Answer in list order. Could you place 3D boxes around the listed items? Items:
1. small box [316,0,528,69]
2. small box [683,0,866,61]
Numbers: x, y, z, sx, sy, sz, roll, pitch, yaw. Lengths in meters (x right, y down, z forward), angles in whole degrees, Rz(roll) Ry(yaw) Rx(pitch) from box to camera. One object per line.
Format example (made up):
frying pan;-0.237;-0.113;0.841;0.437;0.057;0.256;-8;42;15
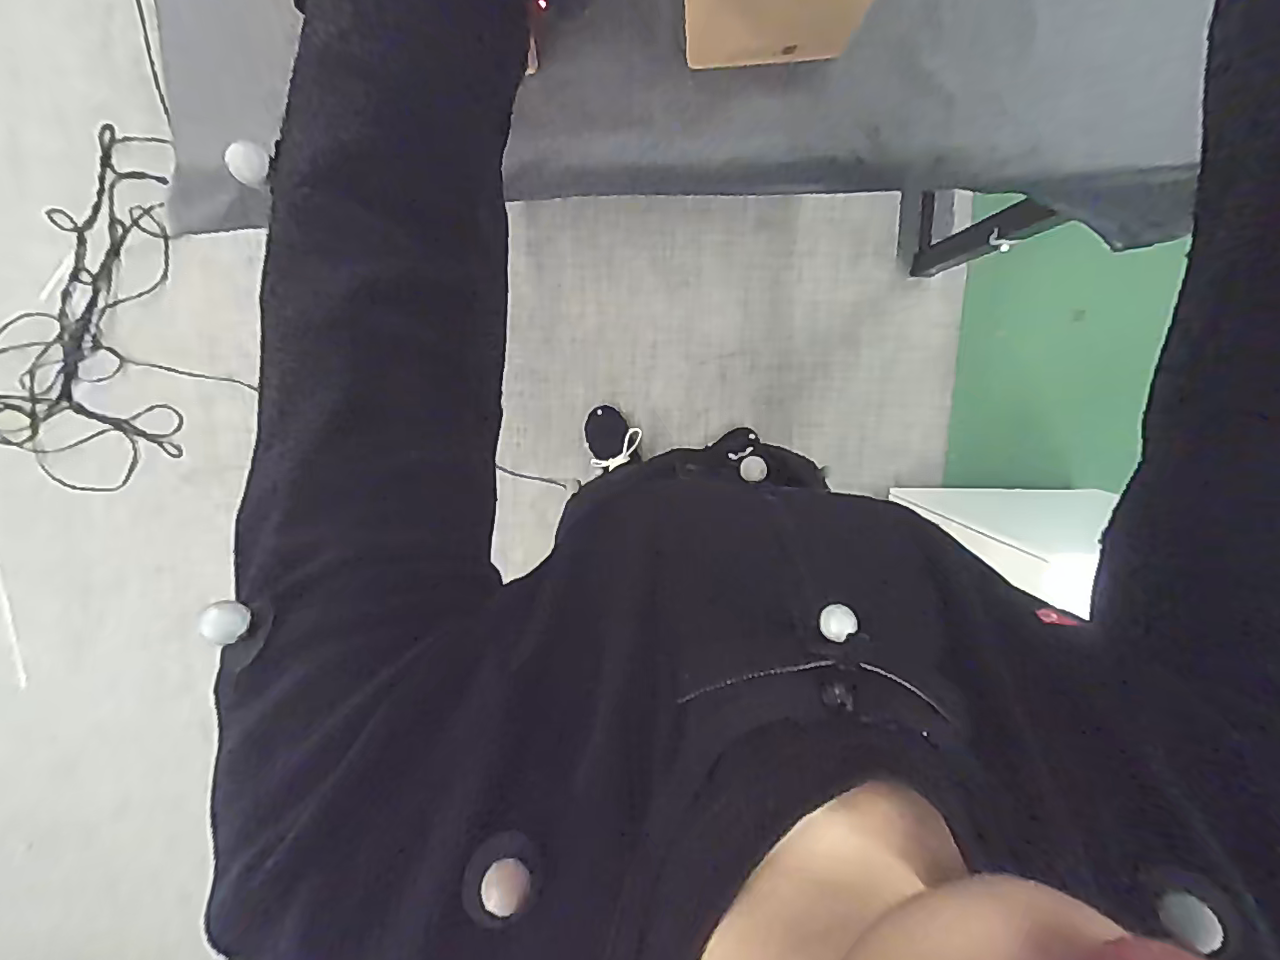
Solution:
small box;-0.202;-0.498;0.474;0.168;0.176;0.179;-5;99;1
small box;0.122;-0.514;0.471;0.168;0.176;0.179;-3;99;1
